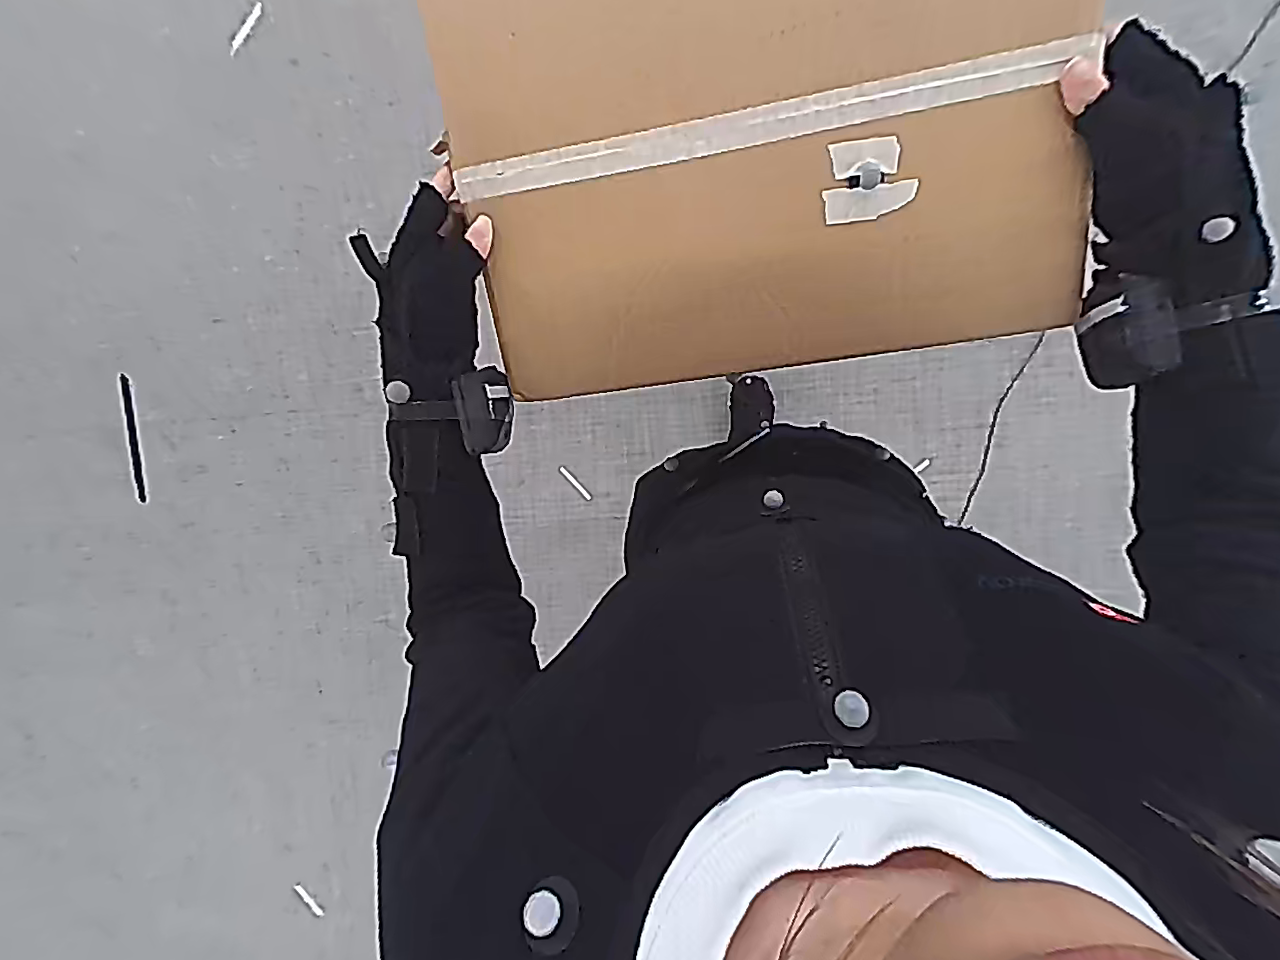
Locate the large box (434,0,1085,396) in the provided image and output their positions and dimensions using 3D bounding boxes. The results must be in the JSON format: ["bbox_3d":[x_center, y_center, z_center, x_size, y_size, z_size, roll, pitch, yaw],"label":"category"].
[{"bbox_3d":[0.089,-0.284,0.503,0.408,0.320,0.320,-8,108,7],"label":"large box"}]
